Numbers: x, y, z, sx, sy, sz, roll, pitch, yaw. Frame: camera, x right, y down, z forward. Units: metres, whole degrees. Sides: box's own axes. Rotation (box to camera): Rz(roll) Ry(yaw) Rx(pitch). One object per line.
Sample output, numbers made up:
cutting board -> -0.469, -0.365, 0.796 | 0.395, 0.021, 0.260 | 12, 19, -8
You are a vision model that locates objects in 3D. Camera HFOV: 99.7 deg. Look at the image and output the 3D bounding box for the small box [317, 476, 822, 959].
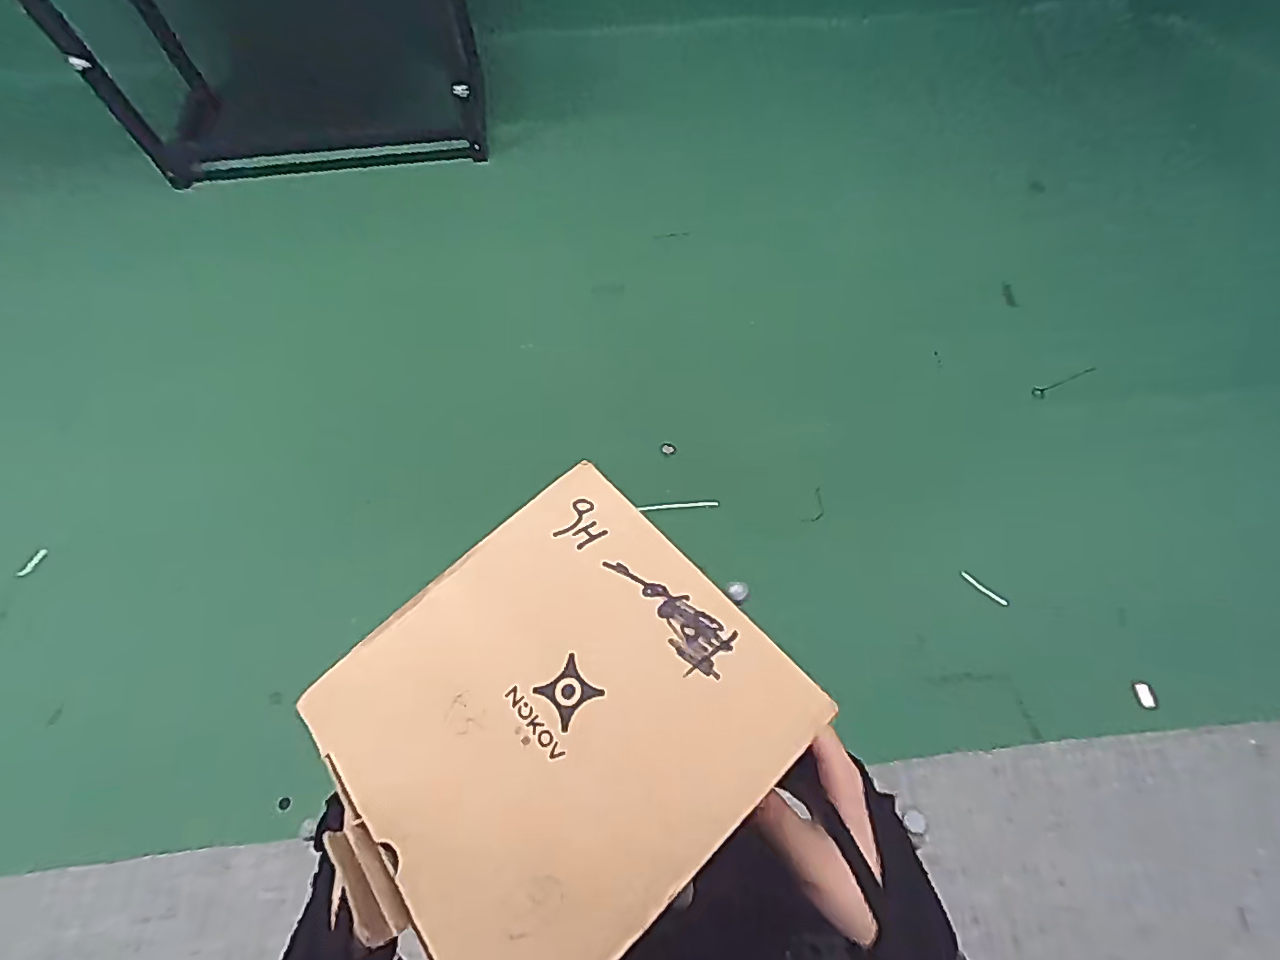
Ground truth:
small box -> -0.027, 0.137, 0.310 | 0.179, 0.176, 0.168 | -41, 66, -12
